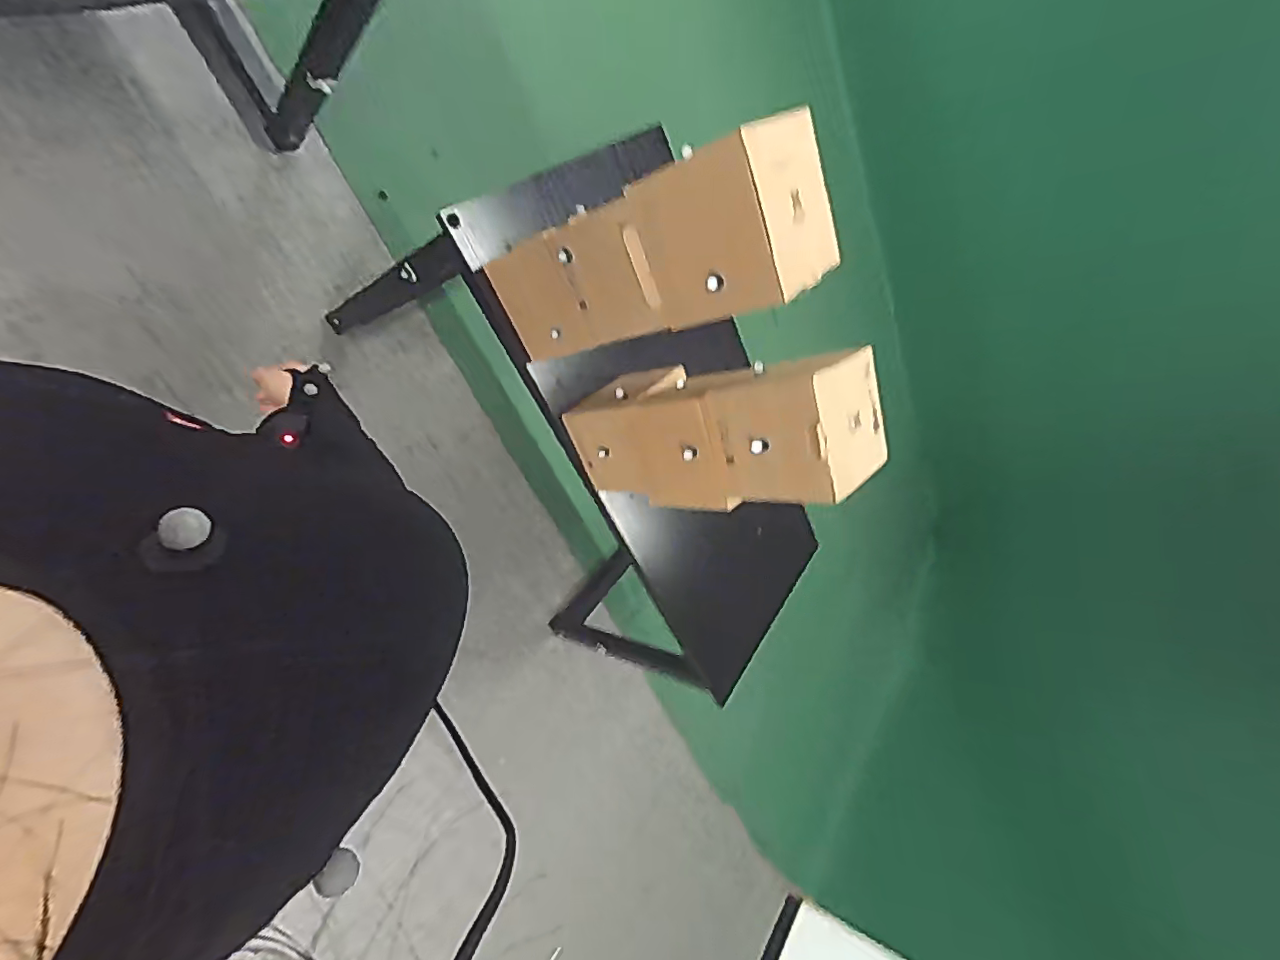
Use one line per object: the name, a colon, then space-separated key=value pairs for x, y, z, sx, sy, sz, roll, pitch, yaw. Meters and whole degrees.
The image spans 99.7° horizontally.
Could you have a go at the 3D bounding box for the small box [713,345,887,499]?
small box: x=0.220 y=-0.080 z=0.763 sx=0.179 sy=0.176 sz=0.168 roll=-28 pitch=109 yaw=-39

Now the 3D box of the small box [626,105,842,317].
small box: x=0.115 y=-0.309 z=0.649 sx=0.168 sy=0.176 sz=0.179 roll=-42 pitch=120 yaw=-37

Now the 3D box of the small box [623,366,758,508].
small box: x=0.100 y=-0.072 z=0.874 sx=0.168 sy=0.176 sz=0.179 roll=-31 pitch=112 yaw=-39

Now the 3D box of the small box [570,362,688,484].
small box: x=-0.005 y=-0.099 z=0.997 sx=0.179 sy=0.176 sz=0.168 roll=-41 pitch=119 yaw=-35

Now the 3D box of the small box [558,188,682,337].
small box: x=0.006 y=-0.319 z=0.770 sx=0.179 sy=0.176 sz=0.168 roll=-42 pitch=120 yaw=-36
